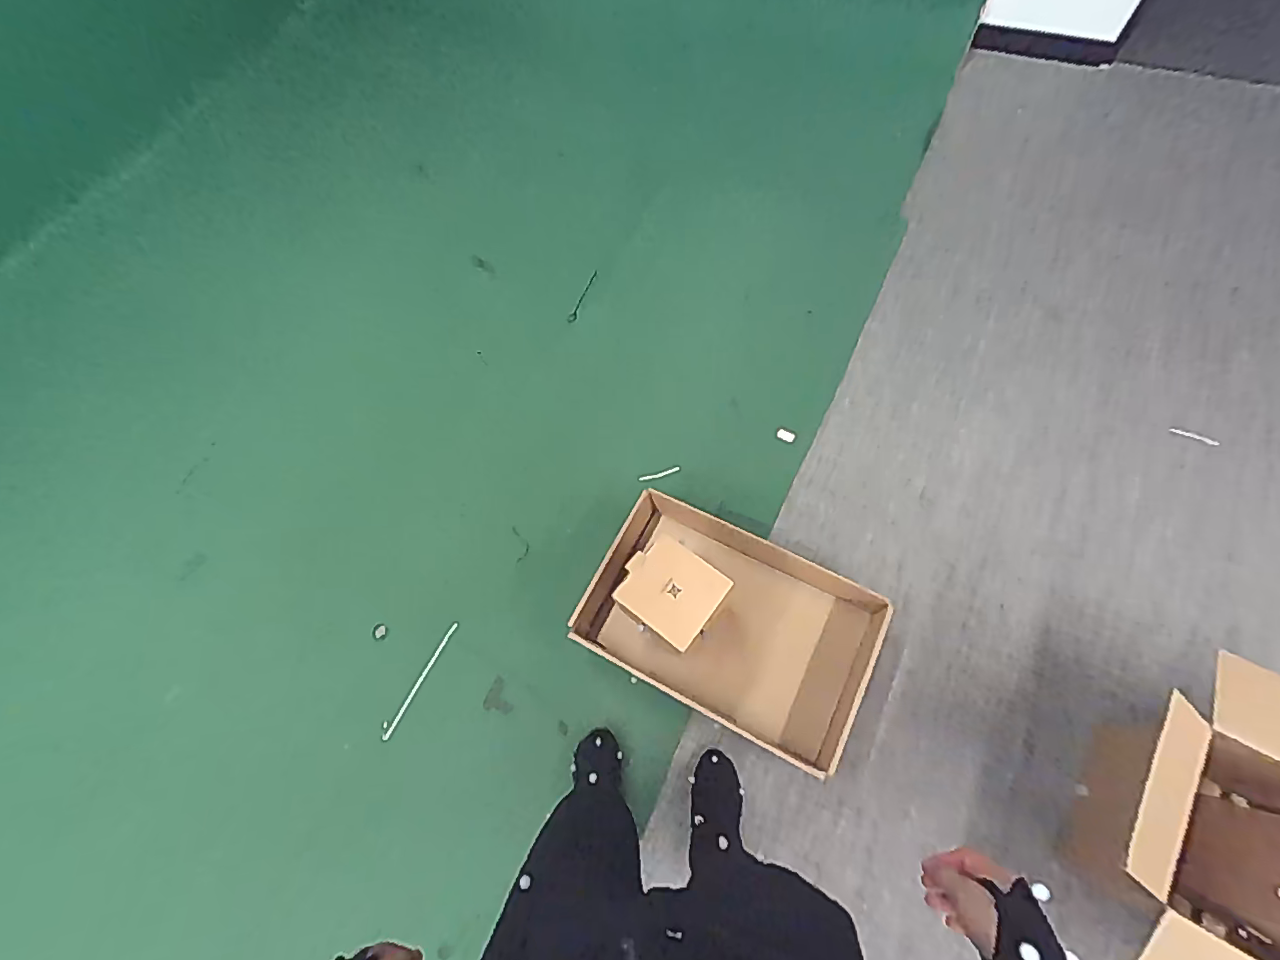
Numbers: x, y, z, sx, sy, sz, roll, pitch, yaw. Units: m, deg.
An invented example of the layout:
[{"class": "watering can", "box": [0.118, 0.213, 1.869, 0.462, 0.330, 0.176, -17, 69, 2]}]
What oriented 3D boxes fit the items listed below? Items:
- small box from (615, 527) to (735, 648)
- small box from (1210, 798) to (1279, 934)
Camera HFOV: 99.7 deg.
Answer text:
[{"class": "small box", "box": [0.074, 0.228, 1.109, 0.179, 0.176, 0.168, 35, 74, 17]}, {"class": "small box", "box": [1.080, 0.647, 0.855, 0.168, 0.176, 0.179, 34, 76, 14]}]
